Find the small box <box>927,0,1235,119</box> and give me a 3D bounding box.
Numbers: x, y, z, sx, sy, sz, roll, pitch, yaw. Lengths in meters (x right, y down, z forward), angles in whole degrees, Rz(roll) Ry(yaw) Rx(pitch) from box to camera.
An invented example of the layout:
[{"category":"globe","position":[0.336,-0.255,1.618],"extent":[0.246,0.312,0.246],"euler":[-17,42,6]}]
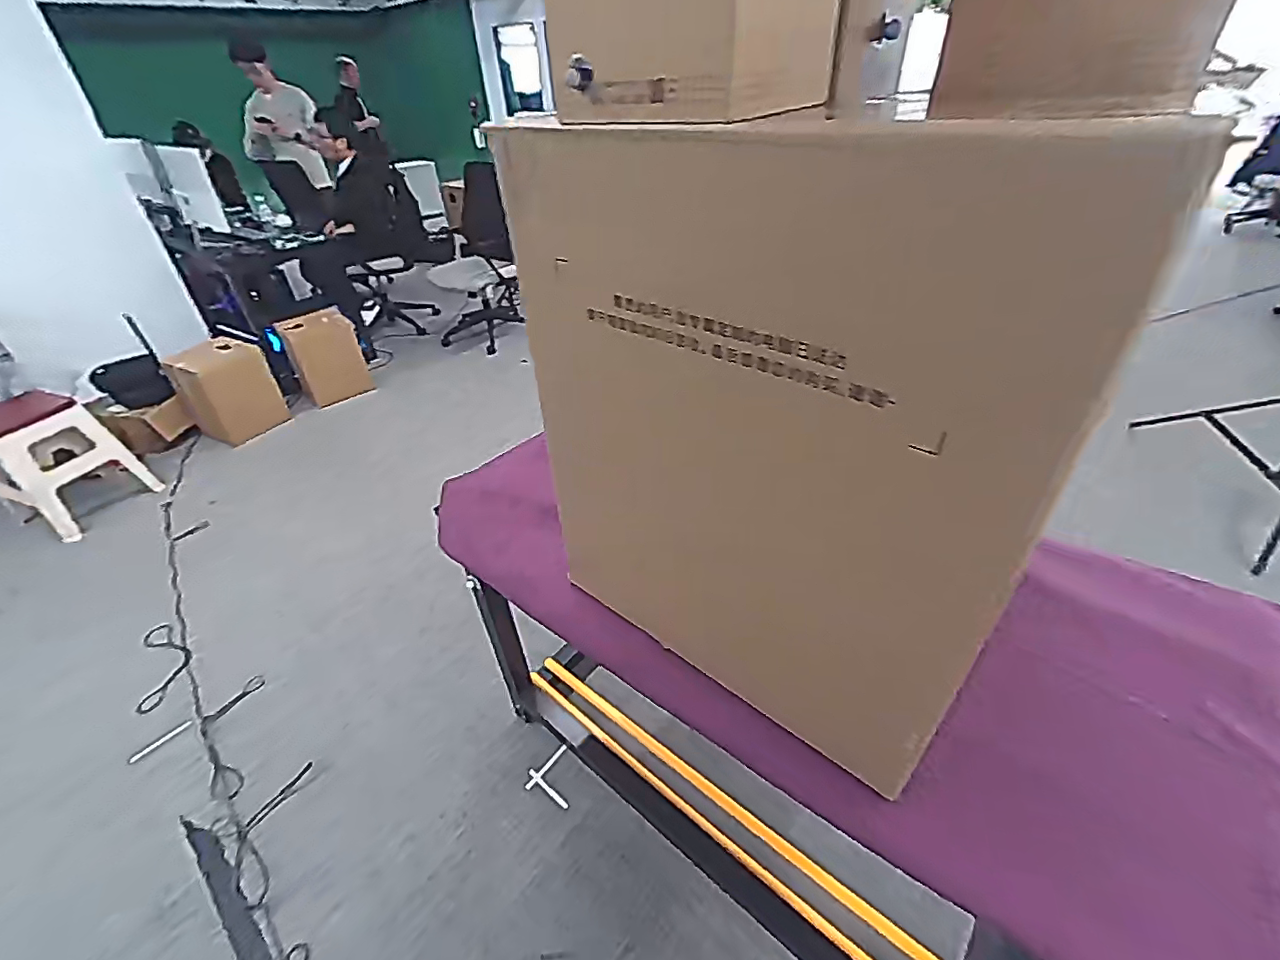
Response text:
[{"category":"small box","position":[0.348,-0.388,0.413],"extent":[0.179,0.176,0.168],"euler":[20,43,31]}]
